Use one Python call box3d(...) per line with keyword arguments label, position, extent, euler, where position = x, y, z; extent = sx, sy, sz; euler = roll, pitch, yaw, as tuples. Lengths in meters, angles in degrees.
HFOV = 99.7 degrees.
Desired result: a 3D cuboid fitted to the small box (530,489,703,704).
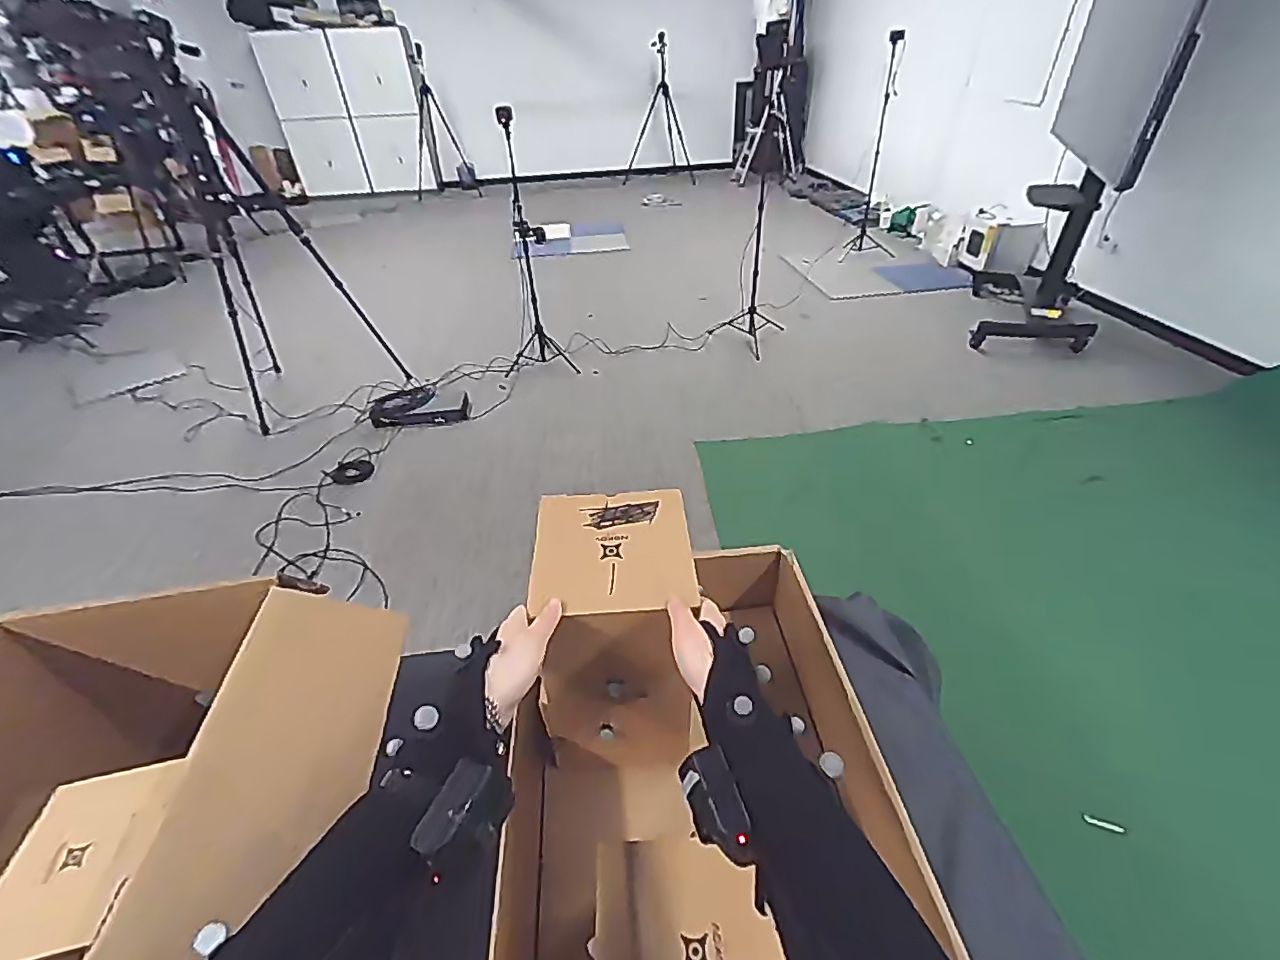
box3d(label="small box", position=(-0.024, 0.131, 0.619), extent=(0.168, 0.176, 0.179), euler=(-3, 40, -1))
